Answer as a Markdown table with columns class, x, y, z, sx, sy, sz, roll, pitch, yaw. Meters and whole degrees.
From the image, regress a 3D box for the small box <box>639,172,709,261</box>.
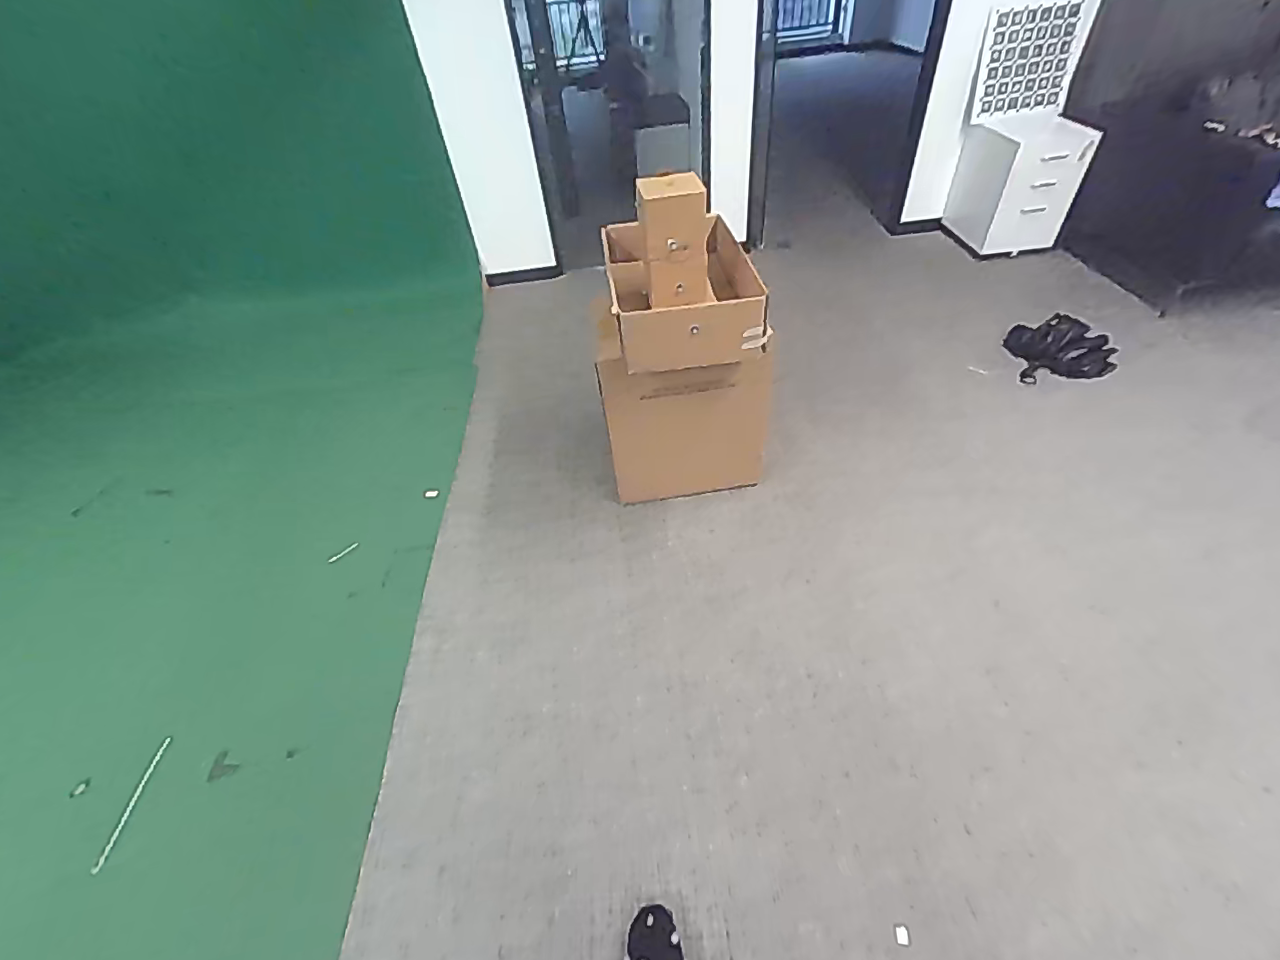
| class | x | y | z | sx | sy | sz | roll | pitch | yaw |
| --- | --- | --- | --- | --- | --- | --- | --- | --- | --- |
| small box | 0.091 | -0.731 | 1.503 | 0.168 | 0.176 | 0.179 | -9 | 45 | -2 |
